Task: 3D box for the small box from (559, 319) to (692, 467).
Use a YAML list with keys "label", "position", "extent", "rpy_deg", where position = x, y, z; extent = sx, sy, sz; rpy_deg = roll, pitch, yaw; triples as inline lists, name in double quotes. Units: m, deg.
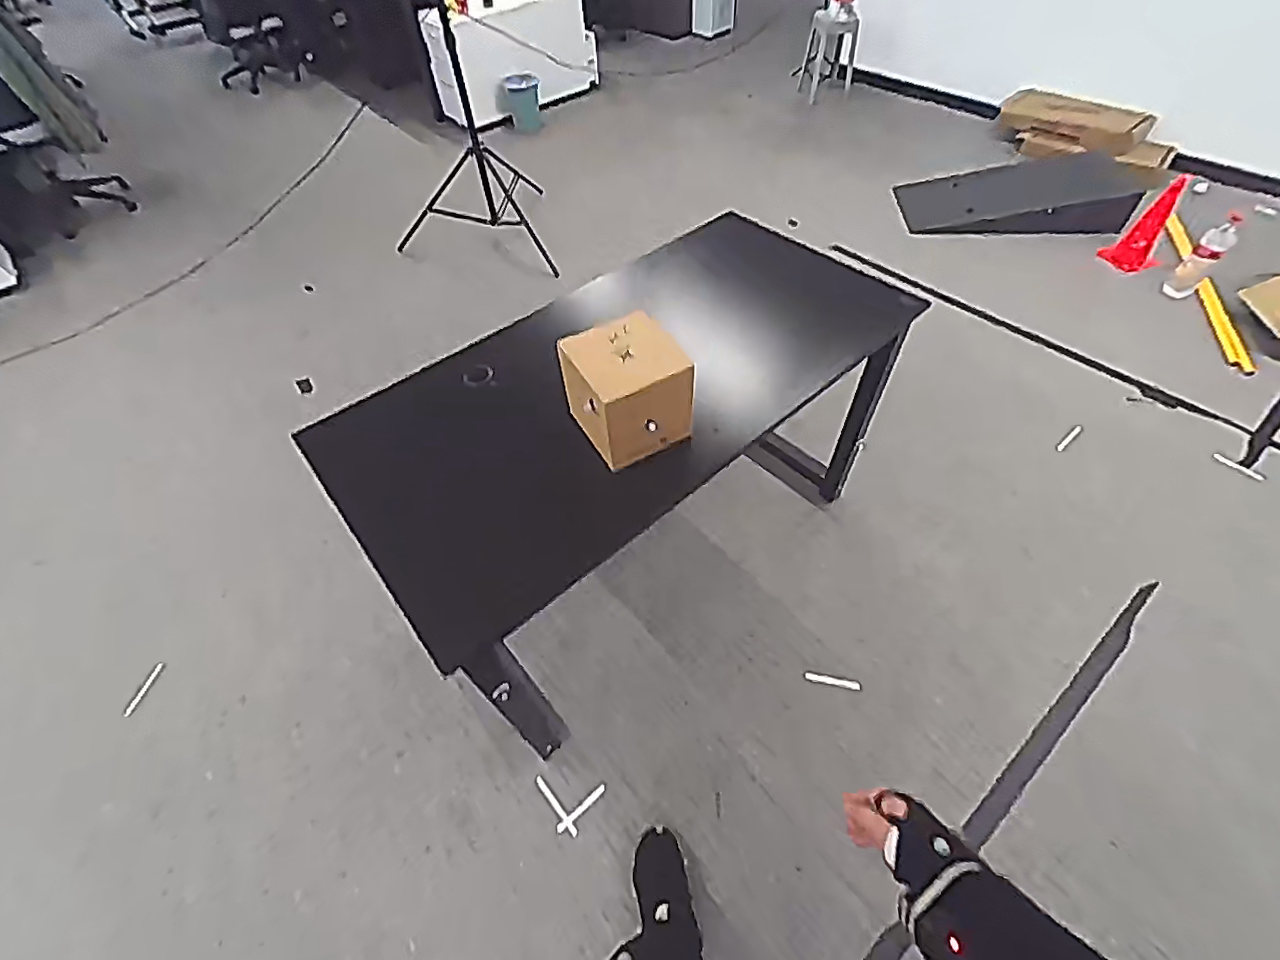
- label: "small box"
  position: [-0.022, -0.145, 0.950]
  extent: [0.168, 0.176, 0.179]
  rpy_deg: [-26, 54, -16]
